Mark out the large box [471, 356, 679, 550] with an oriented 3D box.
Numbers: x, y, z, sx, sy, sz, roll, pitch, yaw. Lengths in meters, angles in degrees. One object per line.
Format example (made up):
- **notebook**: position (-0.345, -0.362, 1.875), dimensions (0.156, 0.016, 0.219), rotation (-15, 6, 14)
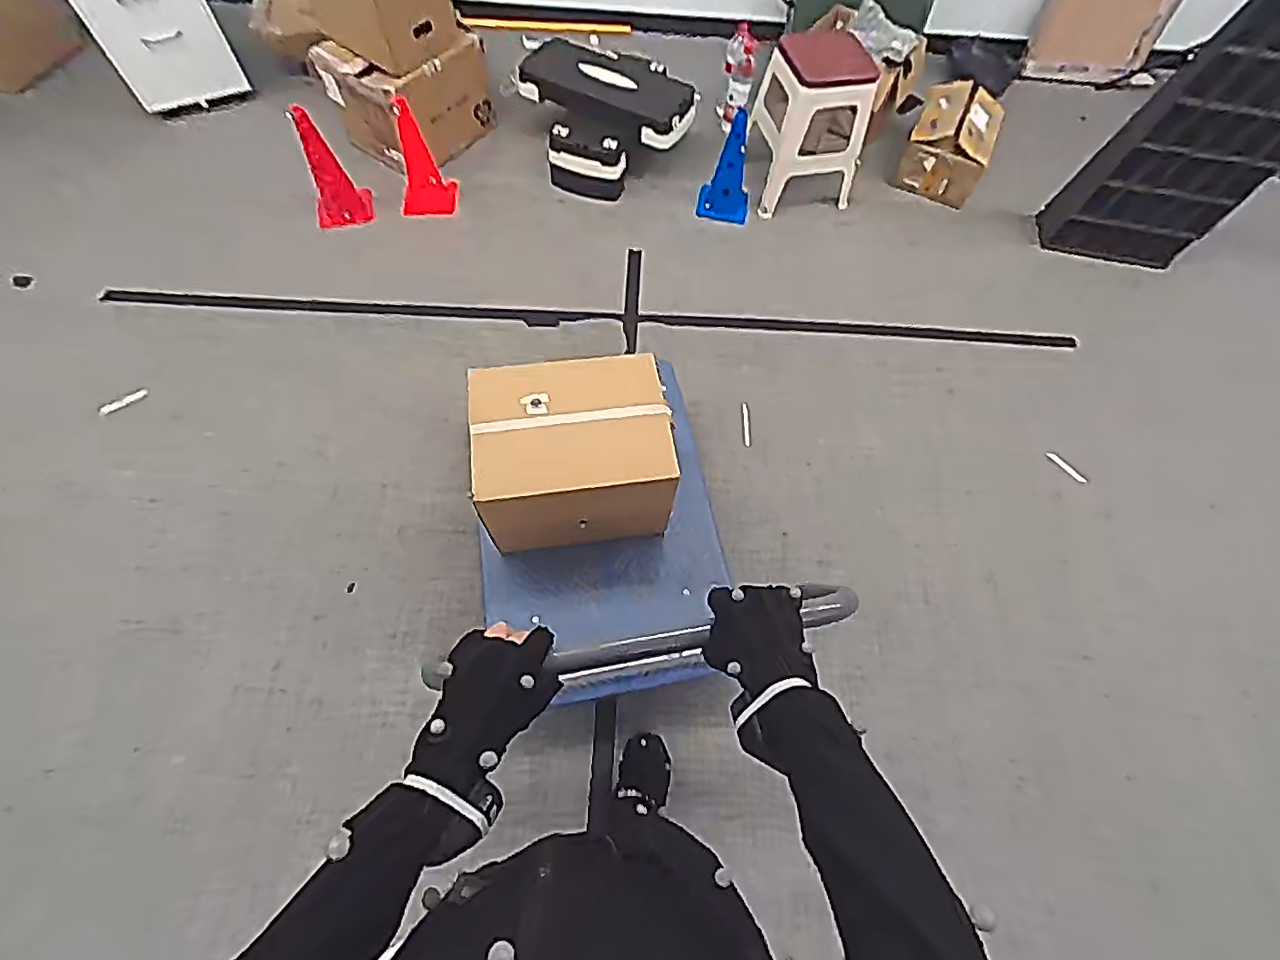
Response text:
- **large box**: position (-0.146, -0.051, 1.246), dimensions (0.408, 0.320, 0.320), rotation (-7, 65, -6)
